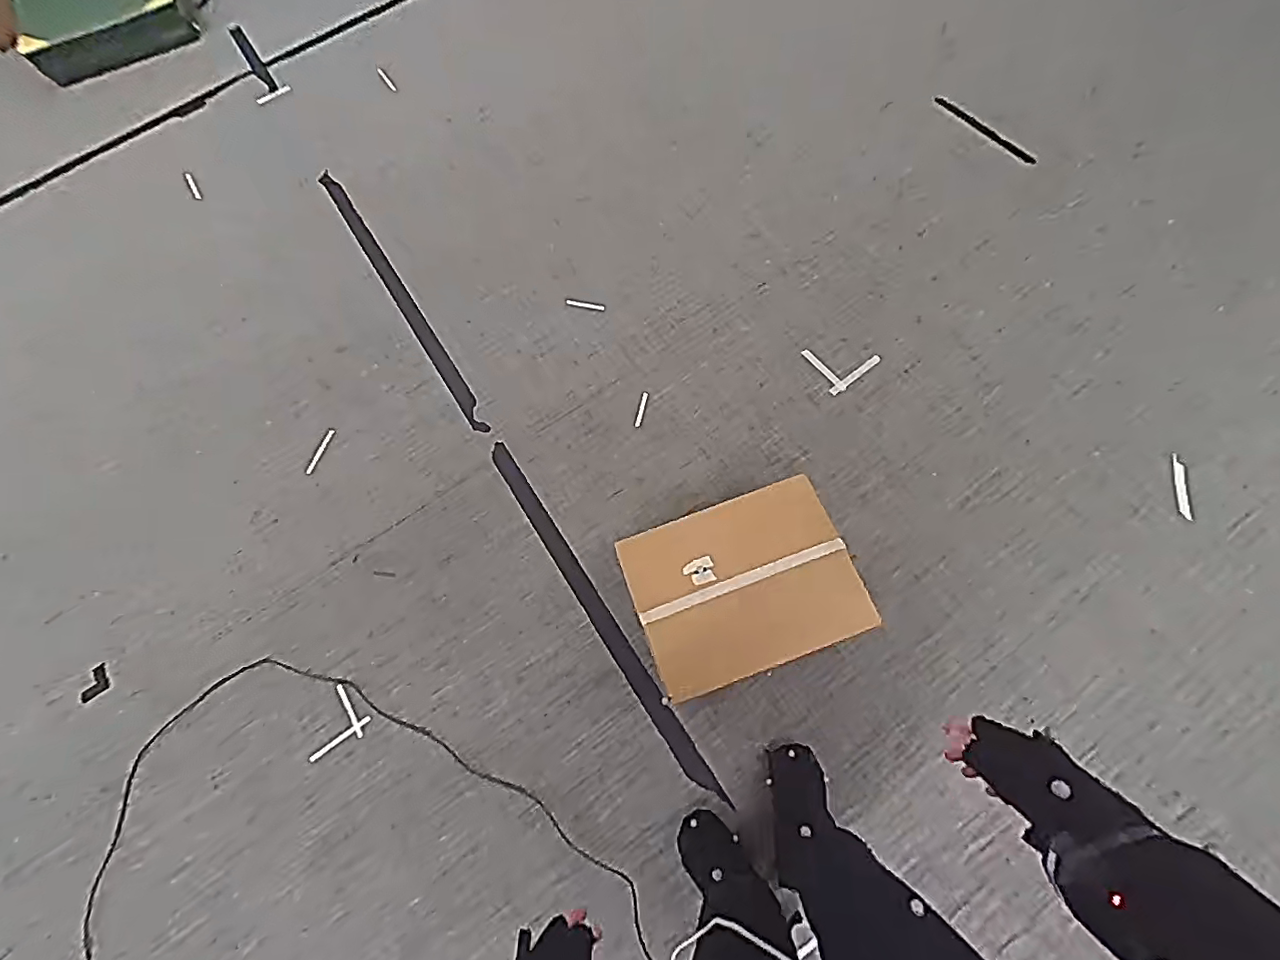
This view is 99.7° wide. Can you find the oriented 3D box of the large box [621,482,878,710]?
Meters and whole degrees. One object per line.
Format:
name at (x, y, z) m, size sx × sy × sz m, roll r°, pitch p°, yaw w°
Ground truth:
large box at (0.213, 0.257, 1.158) m, size 0.408 × 0.320 × 0.320 m, roll -21°, pitch 68°, yaw -2°
